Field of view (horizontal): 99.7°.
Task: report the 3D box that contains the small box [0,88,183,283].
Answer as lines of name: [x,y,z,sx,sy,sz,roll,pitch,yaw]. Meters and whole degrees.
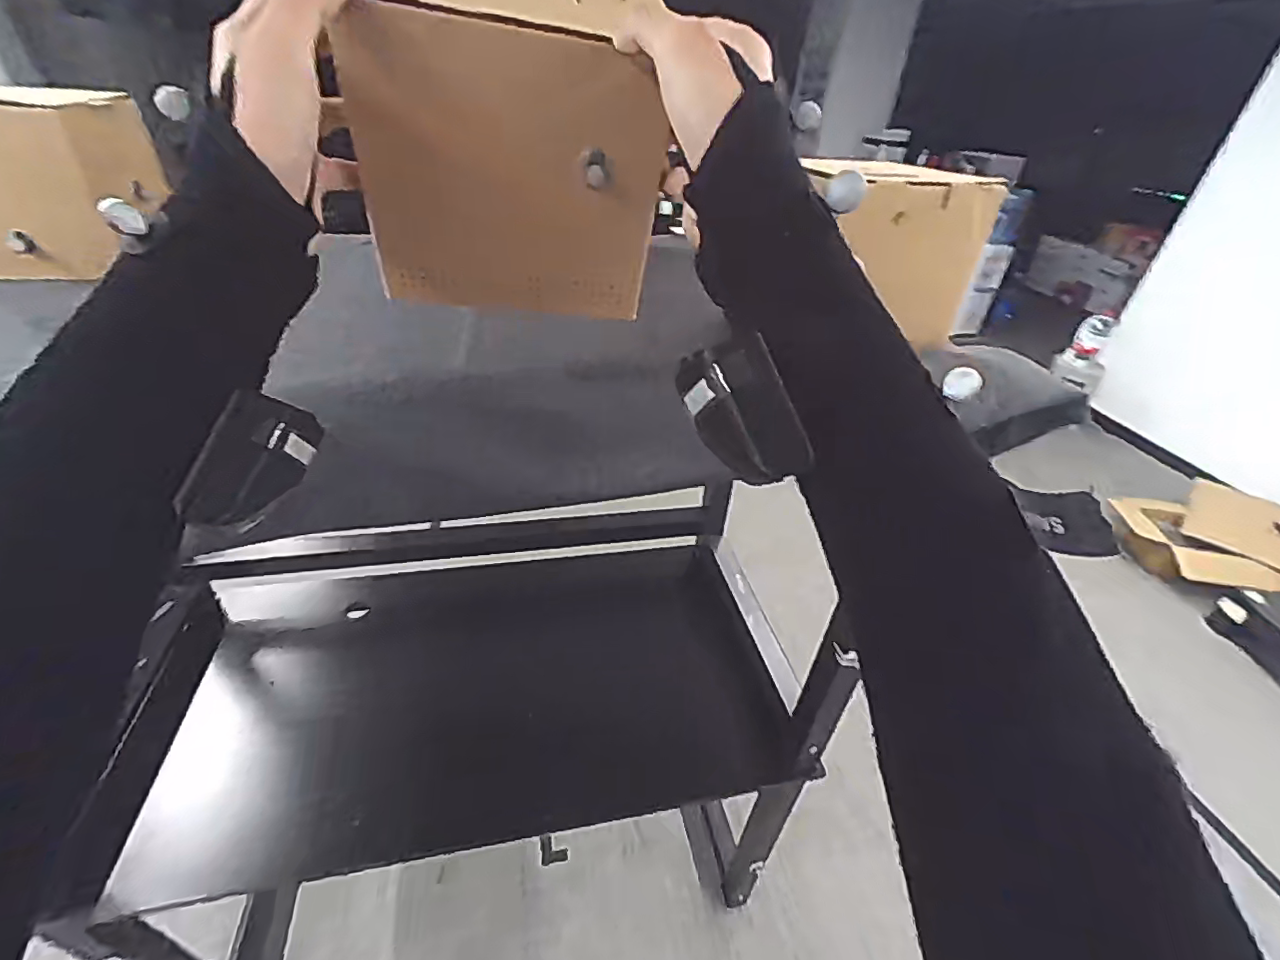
small box: [-0.670,-0.329,0.610,0.179,0.176,0.168,-5,37,-15]

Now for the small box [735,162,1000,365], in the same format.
small box: [0.214,-0.226,0.566,0.168,0.176,0.179,-6,36,-14]
